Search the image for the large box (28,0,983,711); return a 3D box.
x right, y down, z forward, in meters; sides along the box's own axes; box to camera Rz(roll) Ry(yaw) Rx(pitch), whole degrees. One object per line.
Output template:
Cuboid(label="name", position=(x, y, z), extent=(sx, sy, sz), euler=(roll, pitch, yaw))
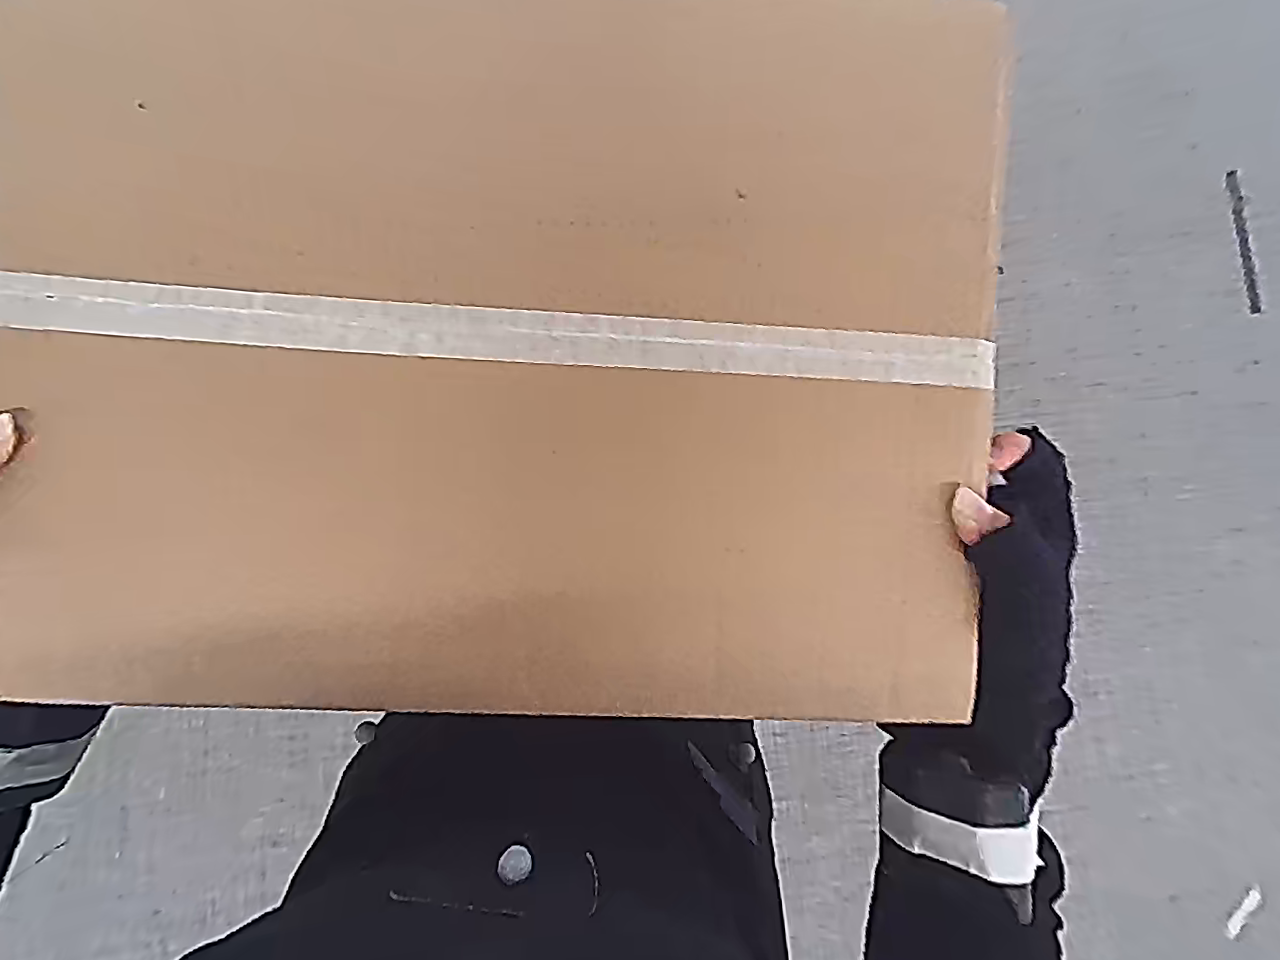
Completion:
Cuboid(label="large box", position=(-0.056, -0.057, 0.384), extent=(0.408, 0.320, 0.320), euler=(3, 91, -4))
